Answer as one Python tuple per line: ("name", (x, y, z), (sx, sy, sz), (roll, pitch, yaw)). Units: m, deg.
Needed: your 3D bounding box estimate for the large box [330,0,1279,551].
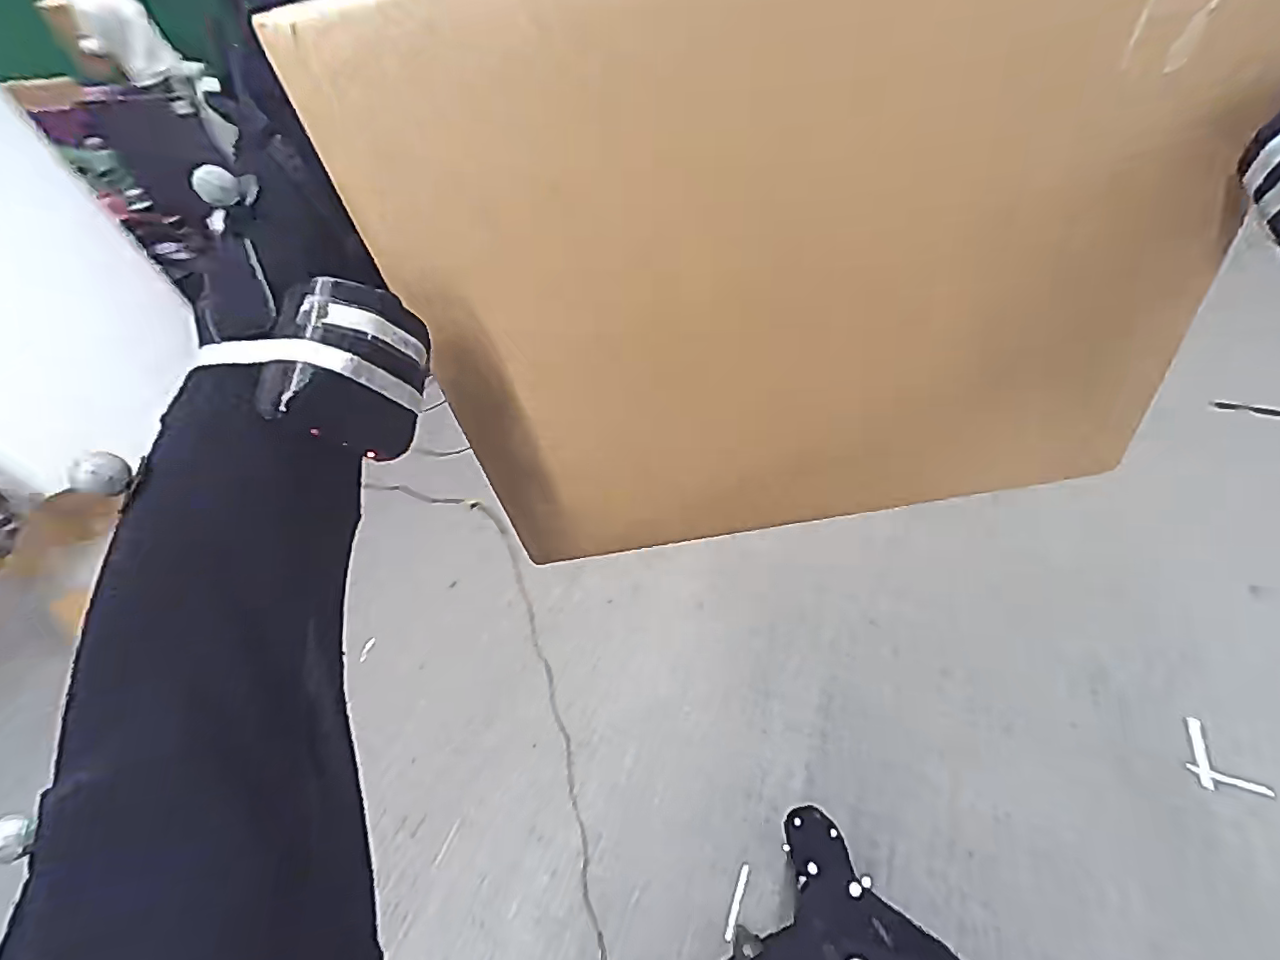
("large box", (0.090, -0.183, 0.403), (0.408, 0.320, 0.320), (-9, 41, 5))
